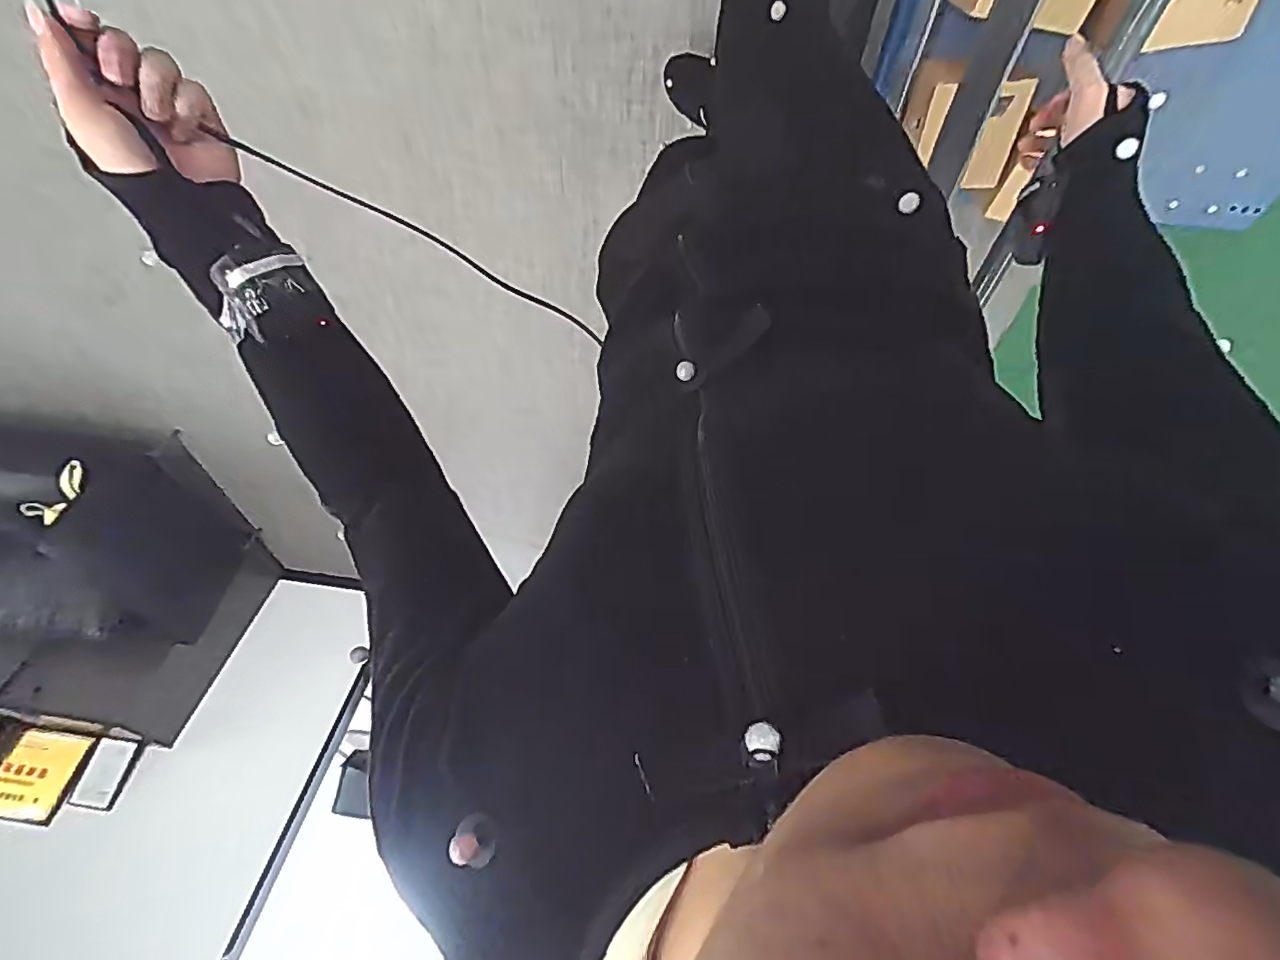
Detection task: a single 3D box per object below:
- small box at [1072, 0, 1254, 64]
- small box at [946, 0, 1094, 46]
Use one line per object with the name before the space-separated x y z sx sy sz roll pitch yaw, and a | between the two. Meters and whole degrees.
small box | 0.842 -0.791 0.861 0.179 0.176 0.168 1 139 12
small box | 0.630 -0.832 0.865 0.179 0.176 0.168 11 140 0
